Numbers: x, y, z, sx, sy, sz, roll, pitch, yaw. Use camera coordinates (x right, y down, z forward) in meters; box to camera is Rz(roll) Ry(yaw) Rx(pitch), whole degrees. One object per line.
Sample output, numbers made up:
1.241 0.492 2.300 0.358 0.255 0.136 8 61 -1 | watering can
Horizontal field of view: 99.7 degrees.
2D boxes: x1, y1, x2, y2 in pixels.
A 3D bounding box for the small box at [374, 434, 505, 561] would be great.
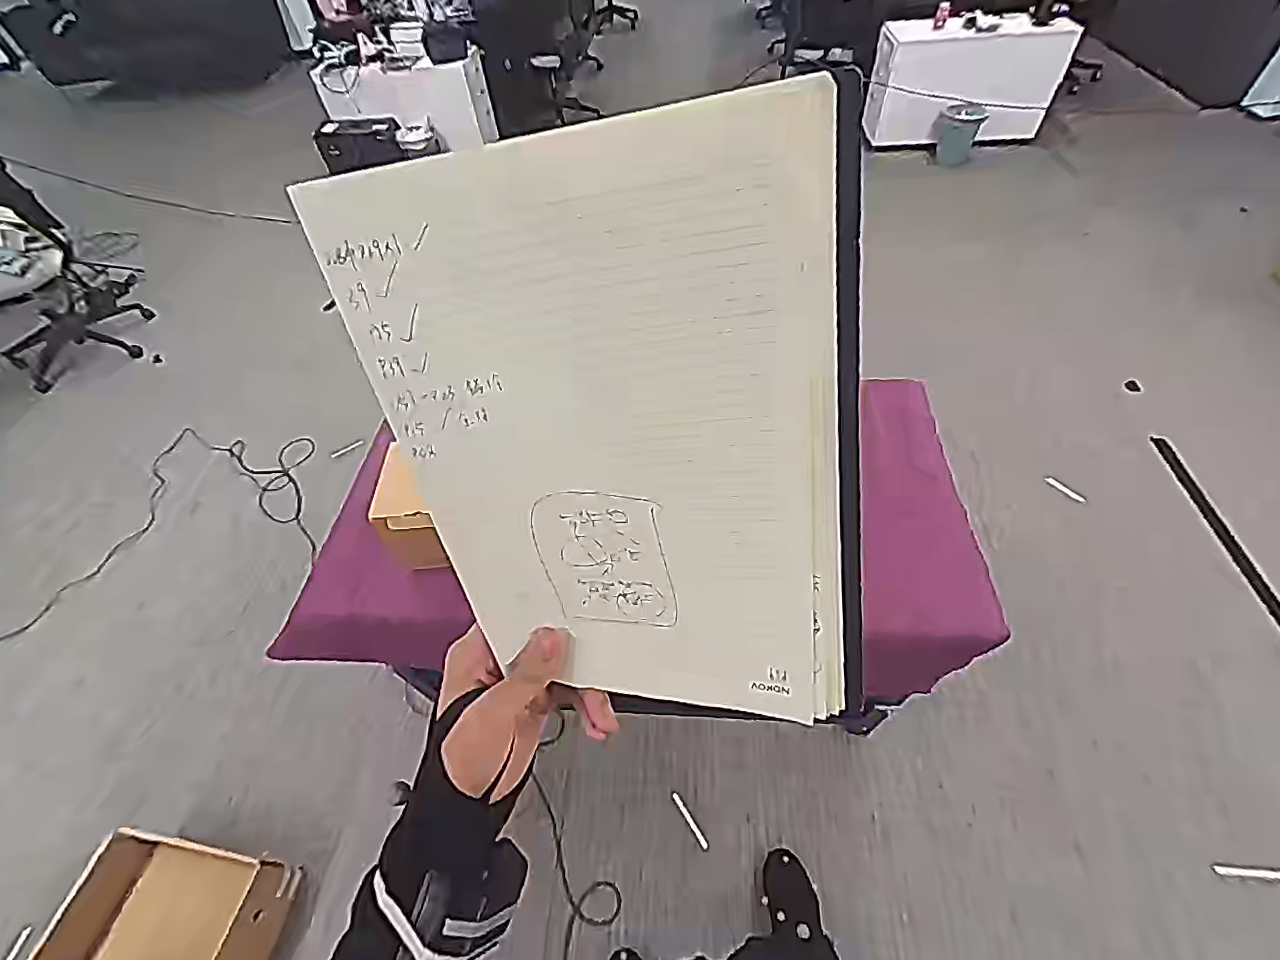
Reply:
-0.354 0.039 0.995 0.168 0.176 0.179 -4 51 0 | small box
